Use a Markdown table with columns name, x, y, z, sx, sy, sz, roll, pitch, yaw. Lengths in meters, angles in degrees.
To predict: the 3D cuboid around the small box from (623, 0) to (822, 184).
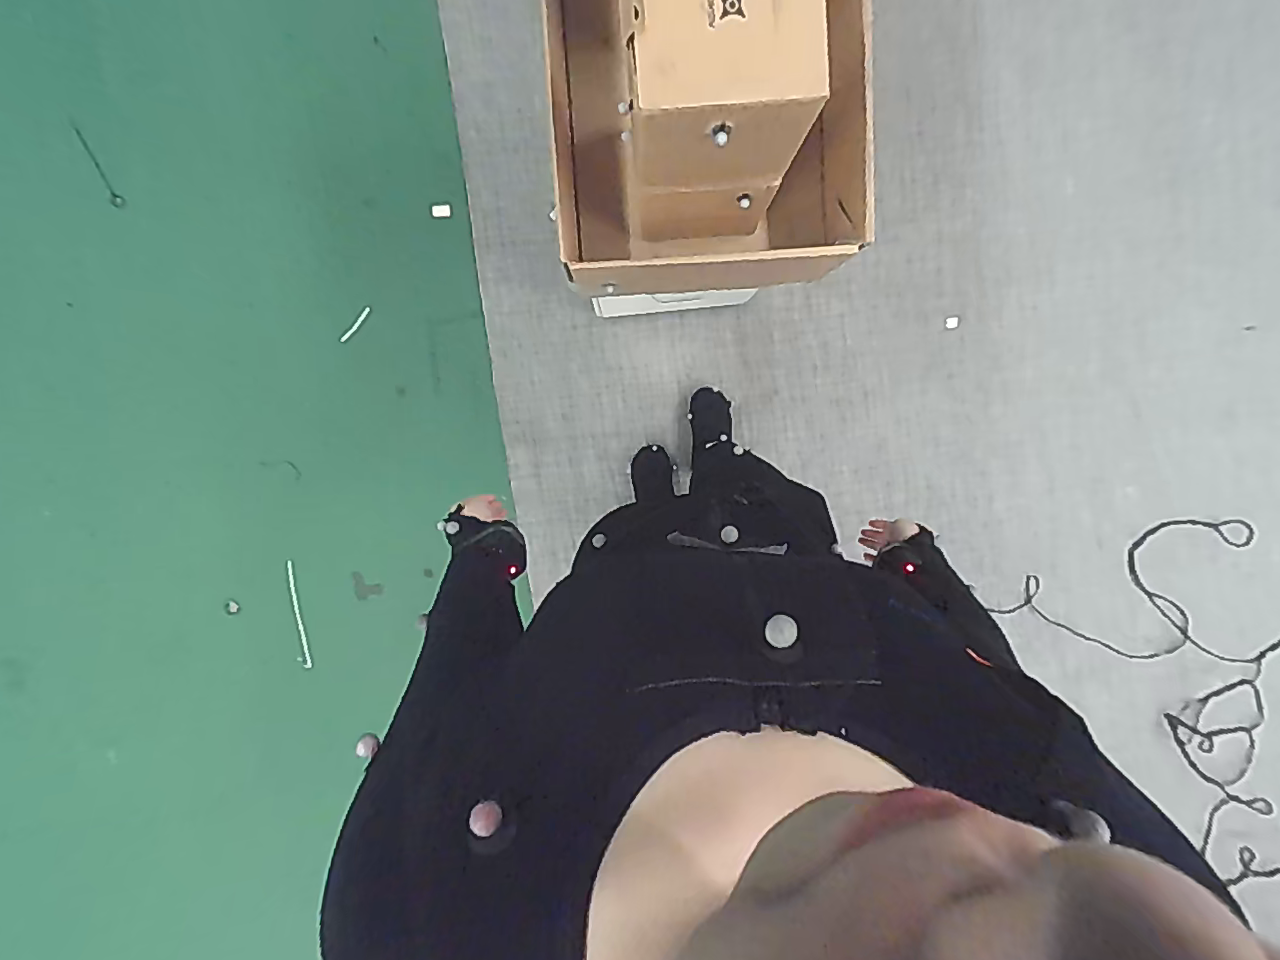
| name | x | y | z | sx | sy | sz | roll | pitch | yaw |
| --- | --- | --- | --- | --- | --- | --- | --- | --- | --- |
| small box | 0.073 | -0.430 | 0.562 | 0.179 | 0.176 | 0.168 | -5 | 97 | -1 |
